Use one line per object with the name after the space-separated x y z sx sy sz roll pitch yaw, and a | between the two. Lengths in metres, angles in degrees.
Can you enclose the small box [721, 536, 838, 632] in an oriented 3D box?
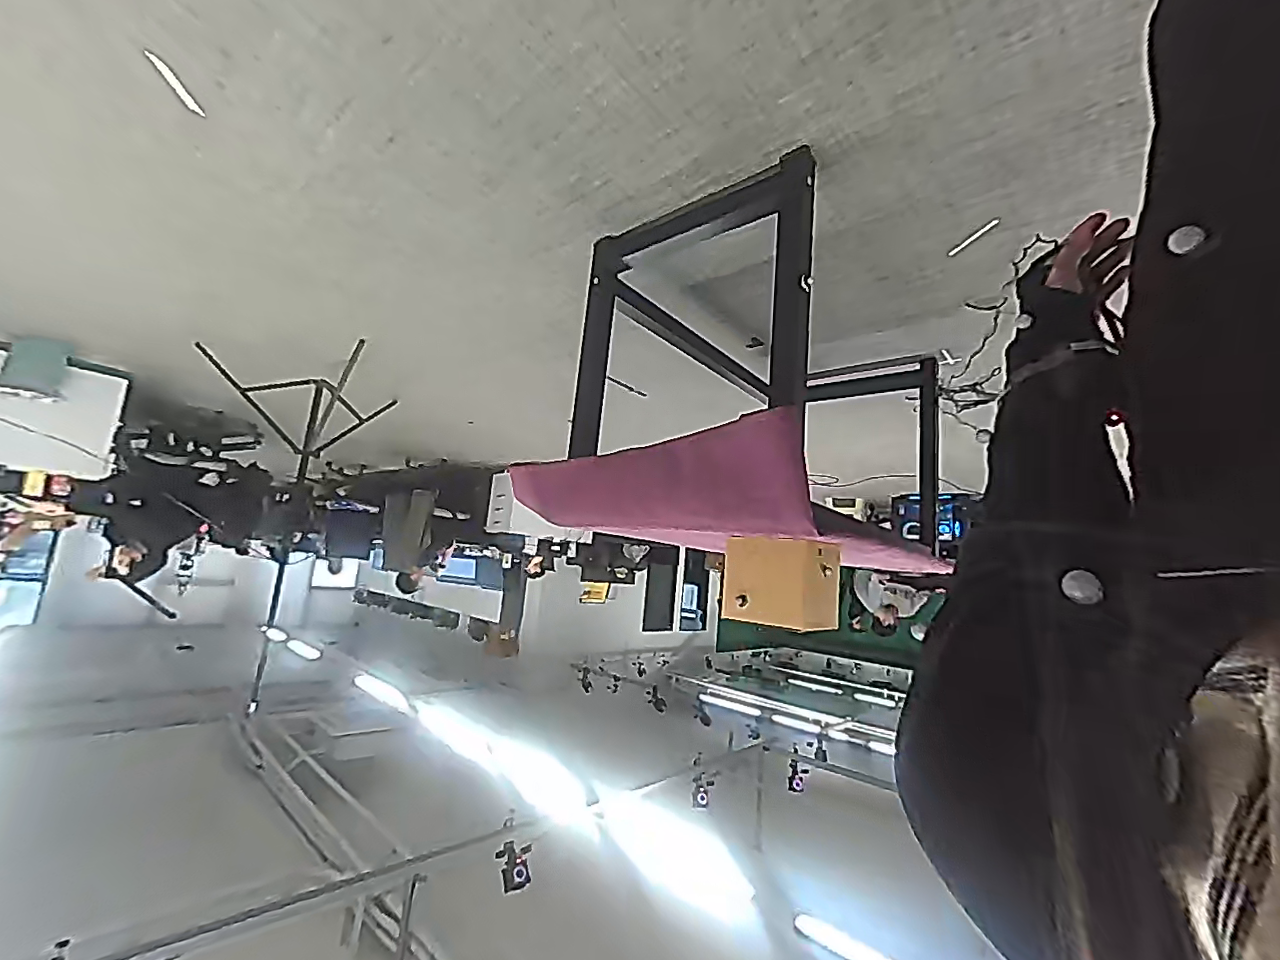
0.284 0.204 1.084 0.179 0.176 0.168 -3 169 42 | small box
